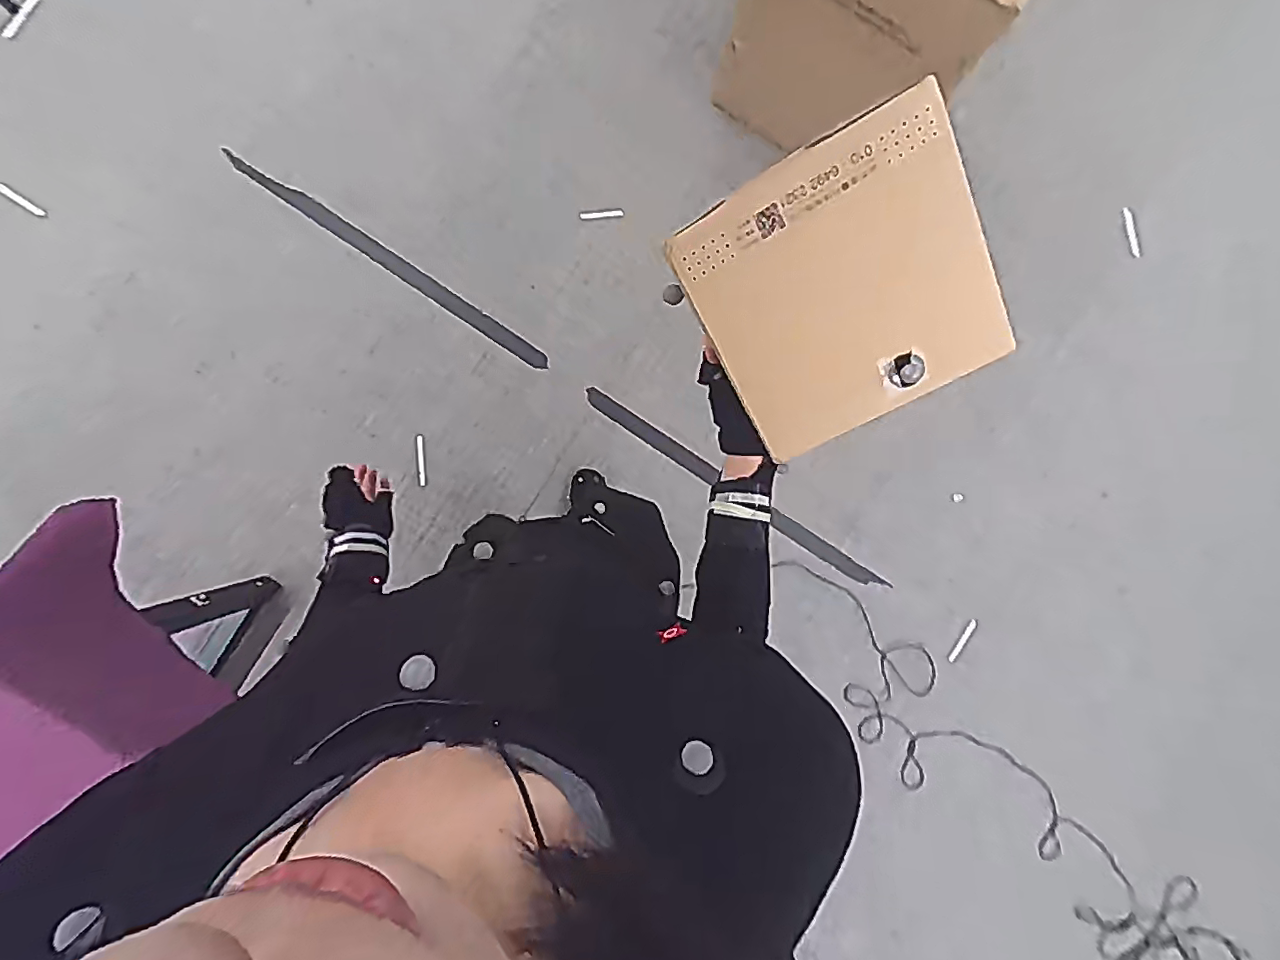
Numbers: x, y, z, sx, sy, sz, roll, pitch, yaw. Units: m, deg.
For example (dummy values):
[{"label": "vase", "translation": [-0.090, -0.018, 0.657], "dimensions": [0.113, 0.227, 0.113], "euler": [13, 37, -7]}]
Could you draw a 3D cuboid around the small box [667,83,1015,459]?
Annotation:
[{"label": "small box", "translation": [0.129, -0.150, 0.401], "dimensions": [0.168, 0.179, 0.176], "euler": [-27, 112, 15]}]
